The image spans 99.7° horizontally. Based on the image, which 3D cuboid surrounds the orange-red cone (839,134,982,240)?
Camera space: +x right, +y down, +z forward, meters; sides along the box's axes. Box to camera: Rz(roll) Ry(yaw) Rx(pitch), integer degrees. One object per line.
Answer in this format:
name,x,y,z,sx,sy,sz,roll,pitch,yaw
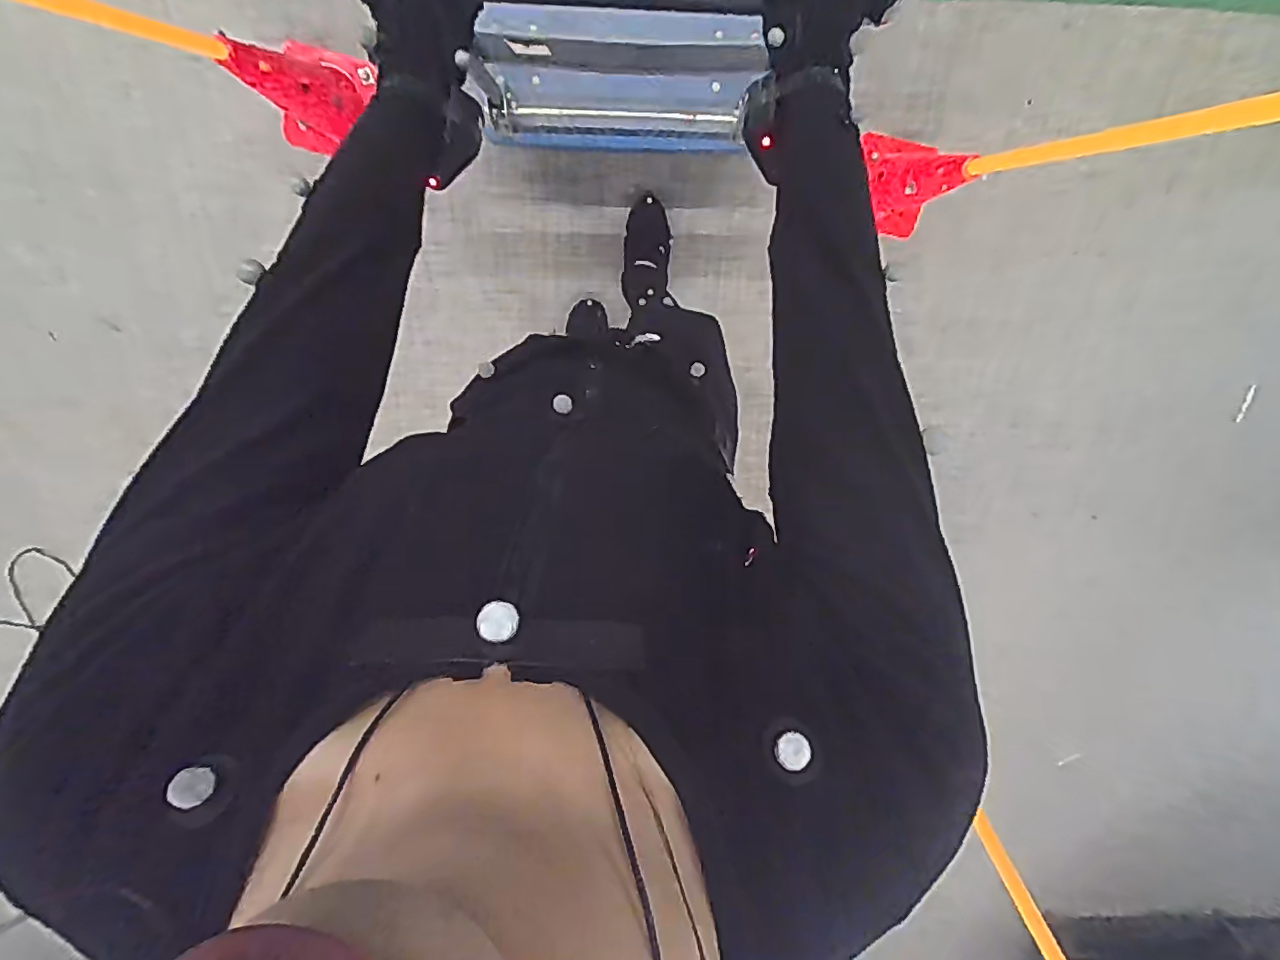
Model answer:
orange-red cone,0.595,-0.626,1.130,0.198,0.360,0.199,11,113,-5
